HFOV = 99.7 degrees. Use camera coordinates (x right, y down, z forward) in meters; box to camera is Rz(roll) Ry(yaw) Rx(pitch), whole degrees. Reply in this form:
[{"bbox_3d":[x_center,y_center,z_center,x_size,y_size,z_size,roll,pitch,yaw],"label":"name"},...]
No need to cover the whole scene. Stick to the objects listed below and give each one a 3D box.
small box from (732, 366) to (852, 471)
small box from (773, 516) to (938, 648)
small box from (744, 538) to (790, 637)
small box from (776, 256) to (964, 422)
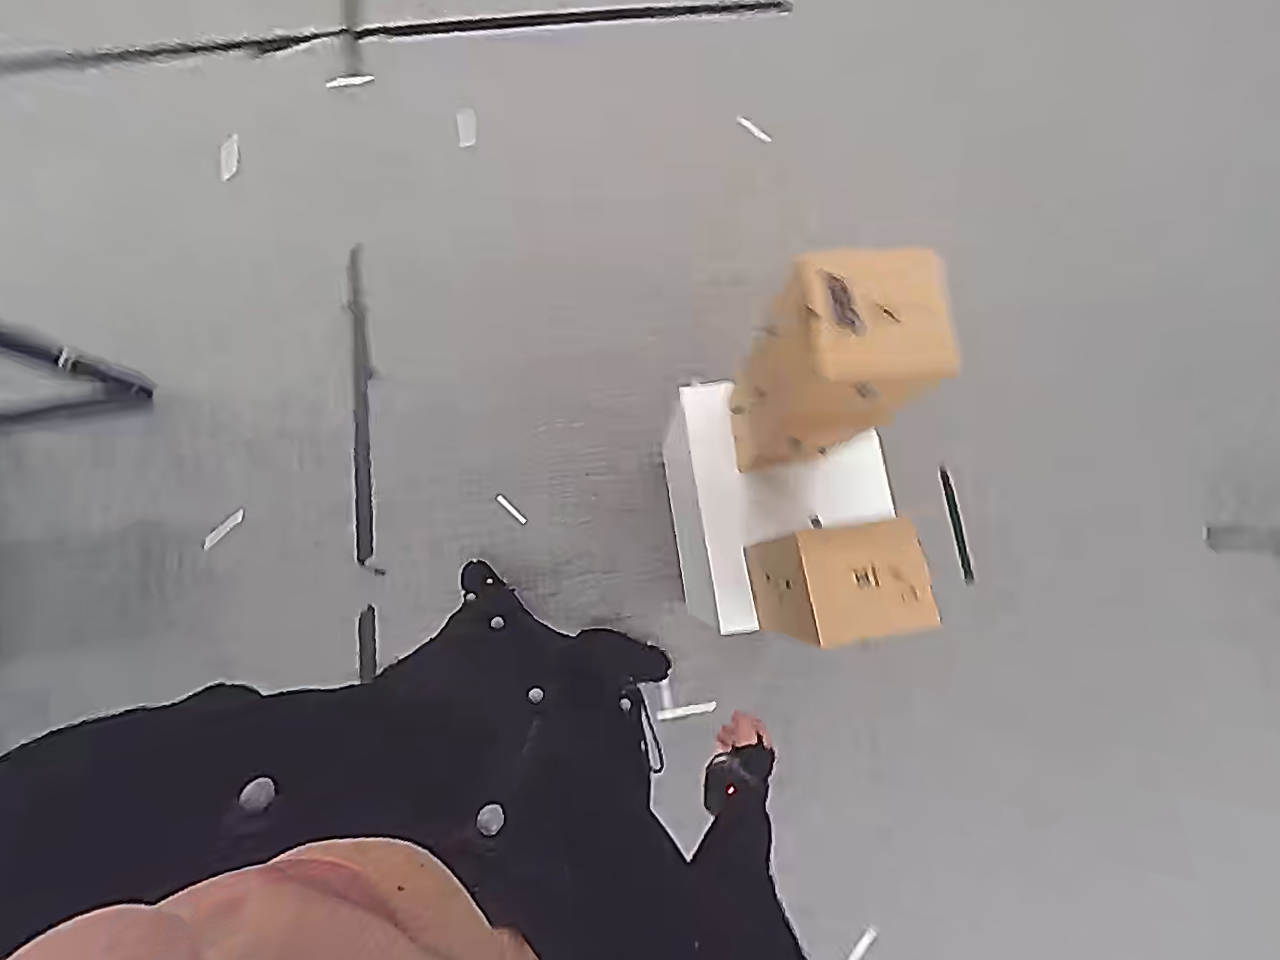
[{"bbox_3d":[0.282,-0.118,1.052,0.179,0.176,0.168,-6,81,-4],"label":"small box"},{"bbox_3d":[0.315,0.157,0.836,0.179,0.176,0.168,-8,80,-4],"label":"small box"},{"bbox_3d":[0.308,0.185,0.999,0.179,0.176,0.168,-9,79,-4],"label":"small box"},{"bbox_3d":[0.291,-0.179,0.729,0.179,0.176,0.168,-3,80,-4],"label":"small box"}]
